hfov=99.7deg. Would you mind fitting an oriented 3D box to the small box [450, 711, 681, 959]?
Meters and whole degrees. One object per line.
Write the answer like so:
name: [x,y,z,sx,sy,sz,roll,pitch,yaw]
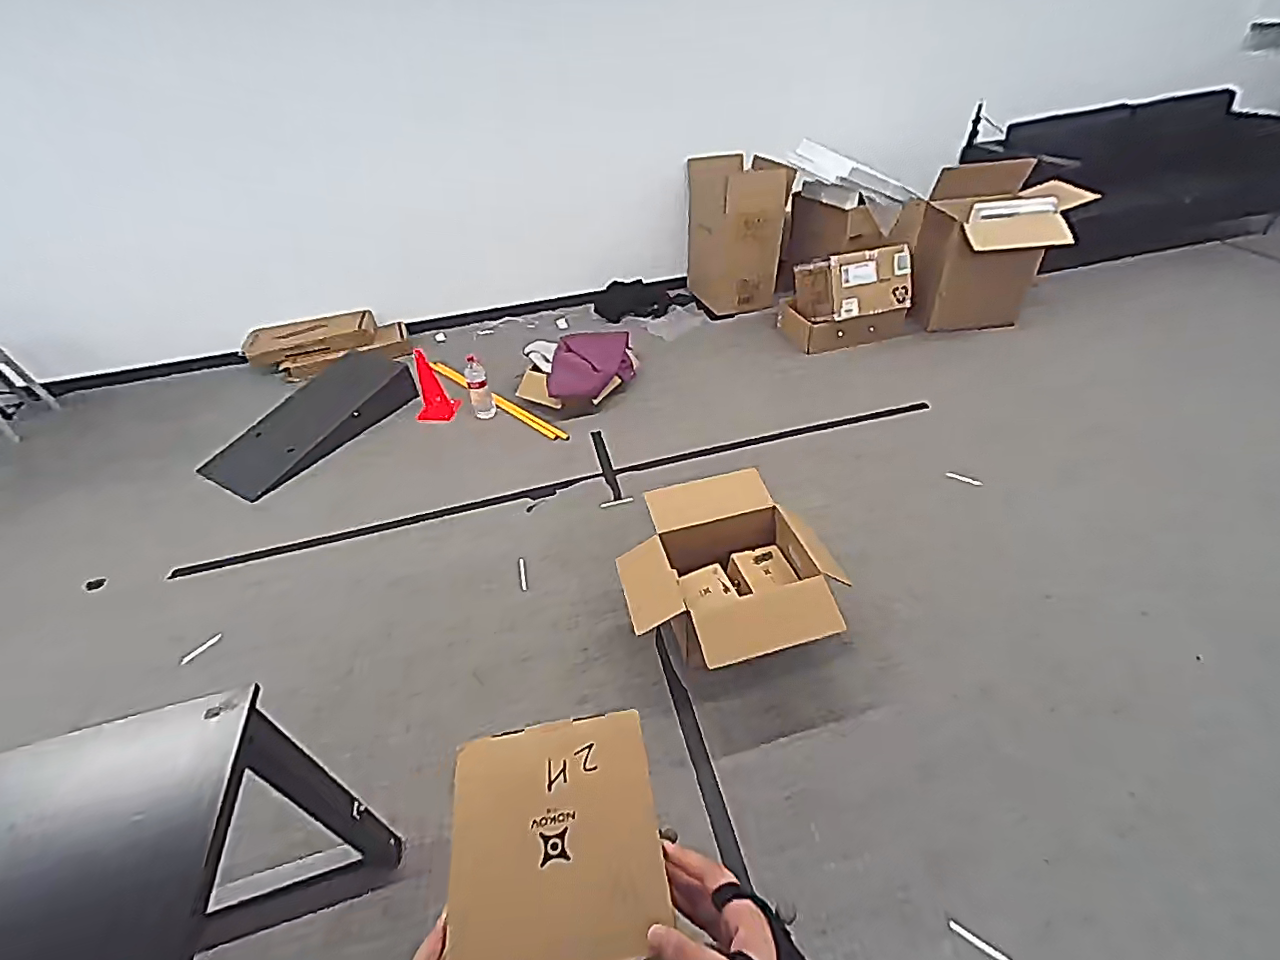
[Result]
small box: [-0.059,0.339,0.484,0.168,0.176,0.179,-9,45,-5]
